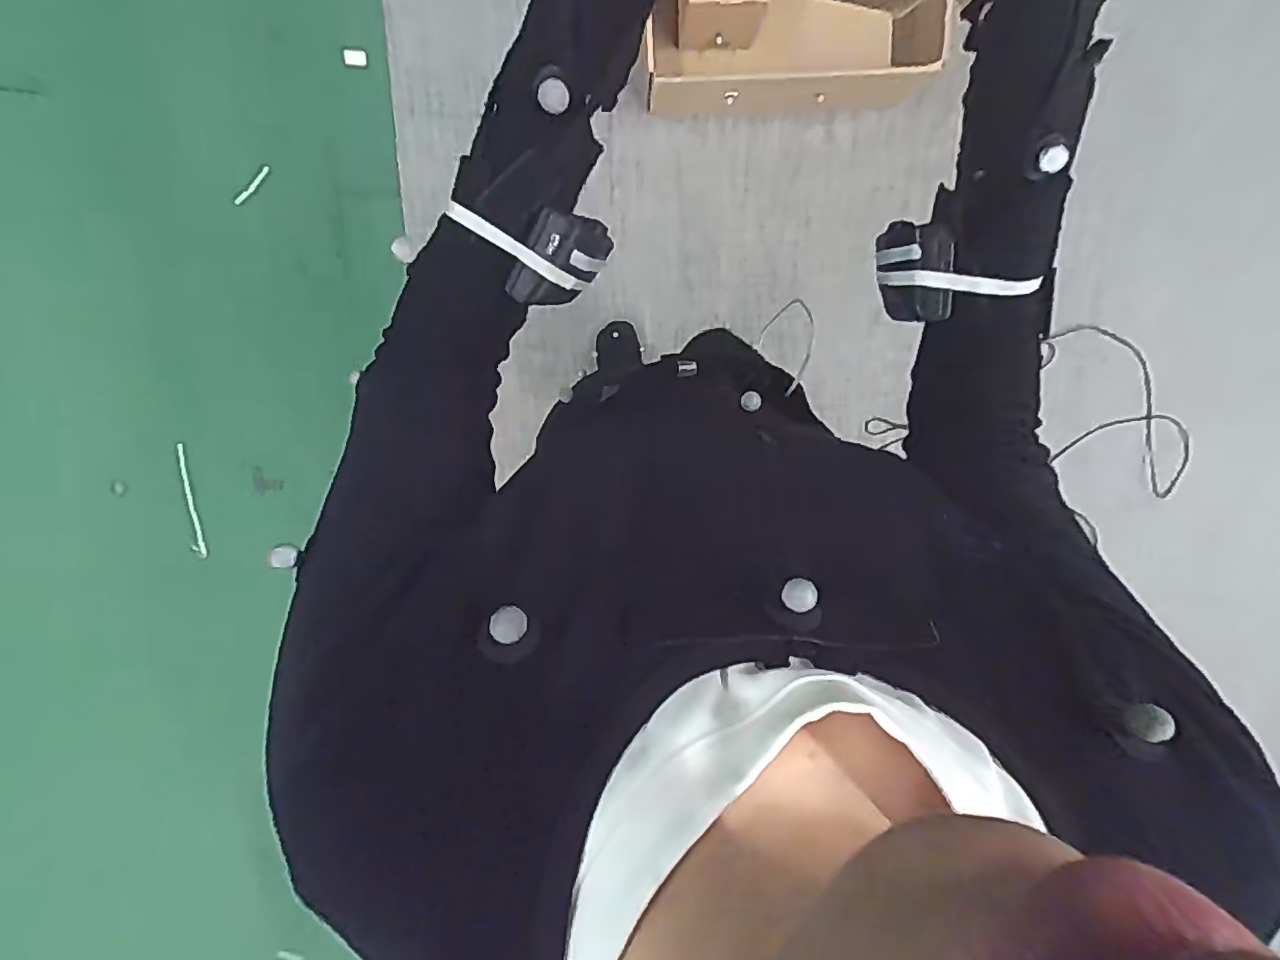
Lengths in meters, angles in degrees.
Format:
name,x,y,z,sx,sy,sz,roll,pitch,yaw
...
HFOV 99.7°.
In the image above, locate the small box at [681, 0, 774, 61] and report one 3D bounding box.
name,x,y,z,sx,sy,sz,roll,pitch,yaw
small box,0.175,-1.010,1.114,0.168,0.176,0.179,-1,102,-3
